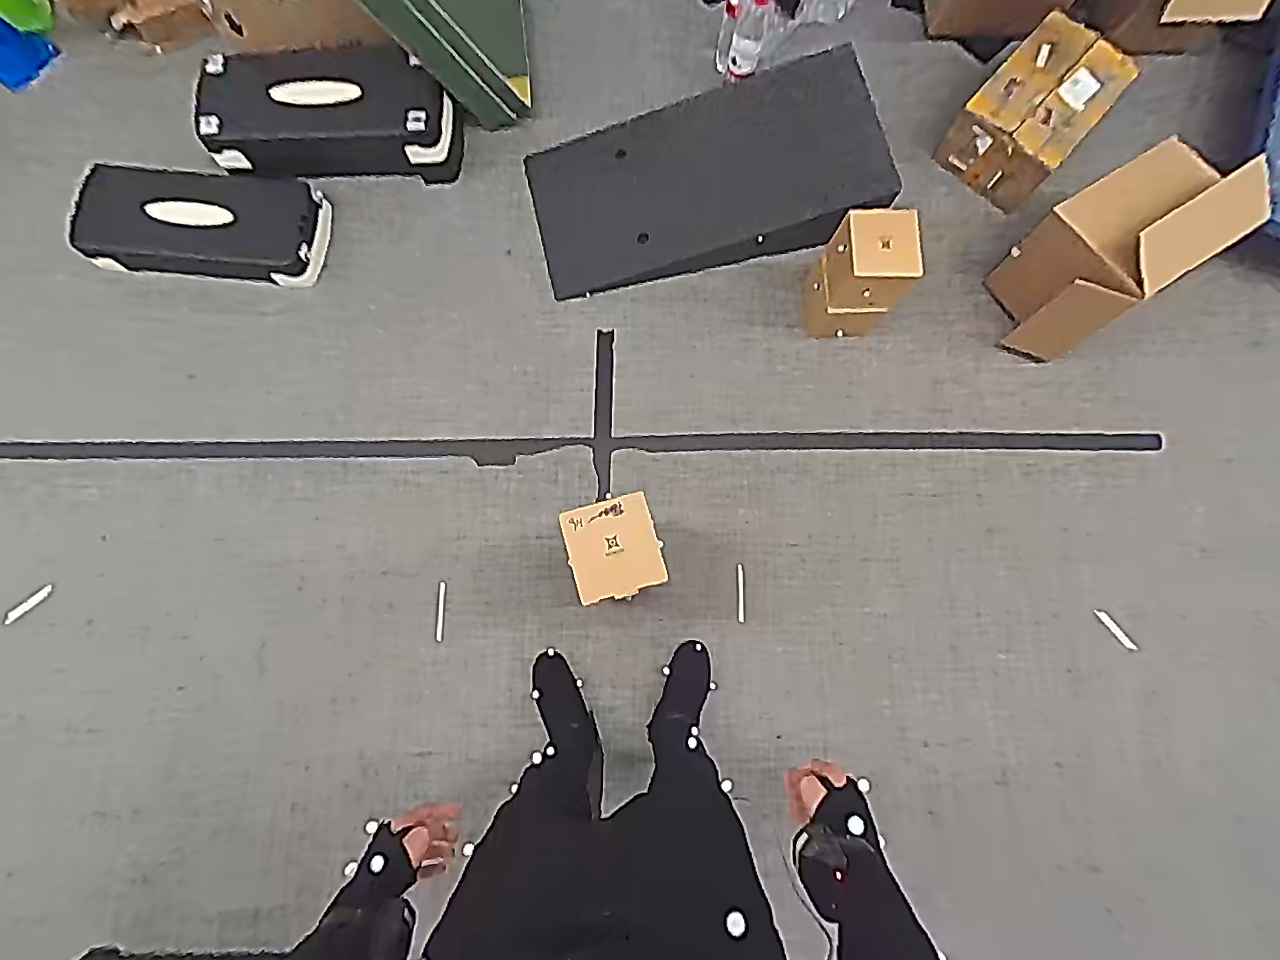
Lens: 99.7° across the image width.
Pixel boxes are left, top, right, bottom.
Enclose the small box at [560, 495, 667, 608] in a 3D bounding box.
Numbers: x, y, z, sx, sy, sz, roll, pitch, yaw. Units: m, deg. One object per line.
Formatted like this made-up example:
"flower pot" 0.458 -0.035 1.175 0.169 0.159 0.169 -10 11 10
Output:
"small box" -0.049 0.141 1.069 0.168 0.176 0.179 -15 81 -4
